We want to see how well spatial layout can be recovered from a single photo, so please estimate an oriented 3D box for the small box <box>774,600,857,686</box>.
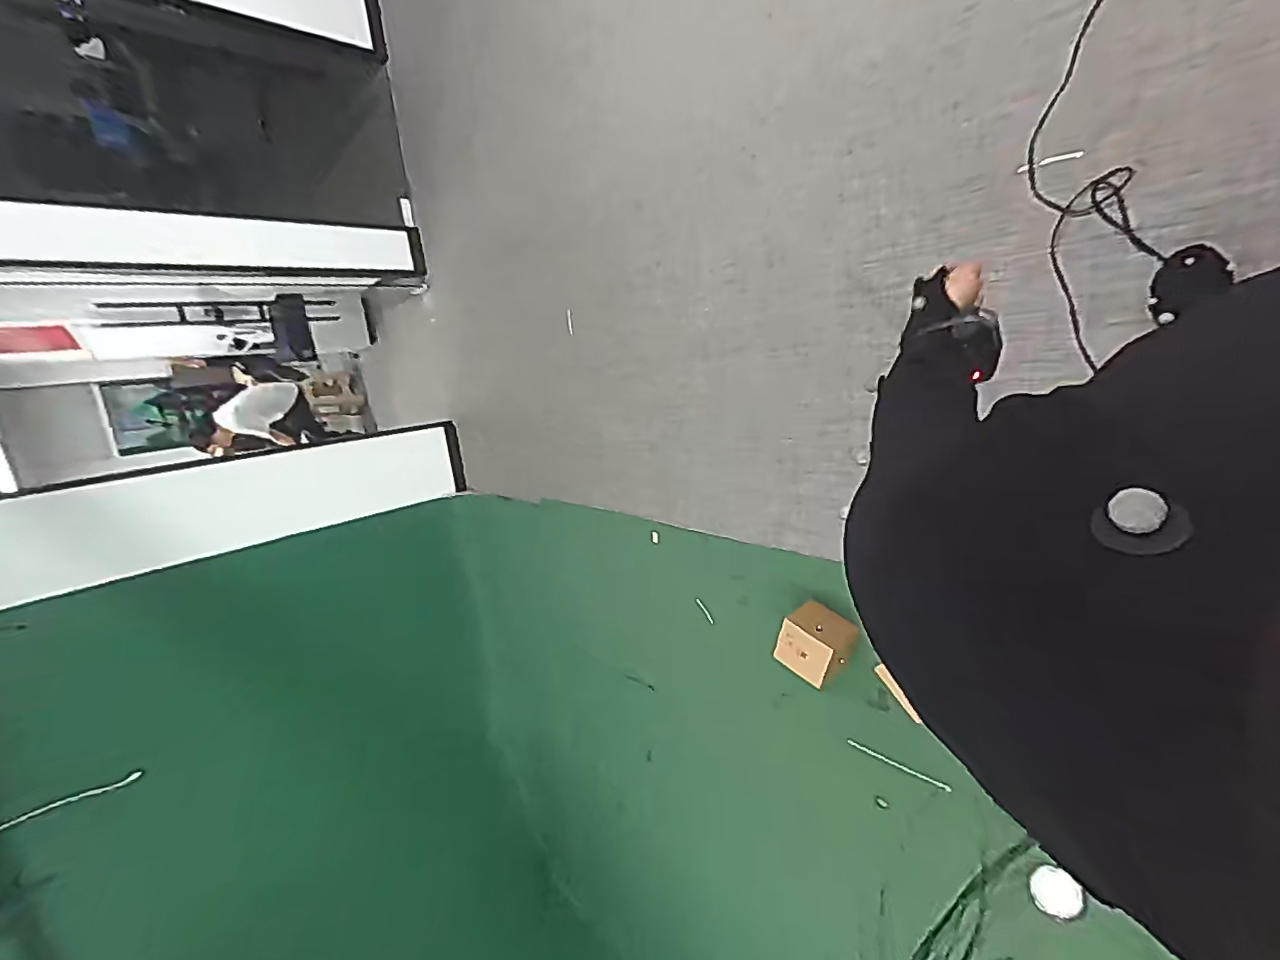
[{"bbox_3d":[0.565,0.513,1.733,0.179,0.176,0.168,31,124,39],"label":"small box"}]
